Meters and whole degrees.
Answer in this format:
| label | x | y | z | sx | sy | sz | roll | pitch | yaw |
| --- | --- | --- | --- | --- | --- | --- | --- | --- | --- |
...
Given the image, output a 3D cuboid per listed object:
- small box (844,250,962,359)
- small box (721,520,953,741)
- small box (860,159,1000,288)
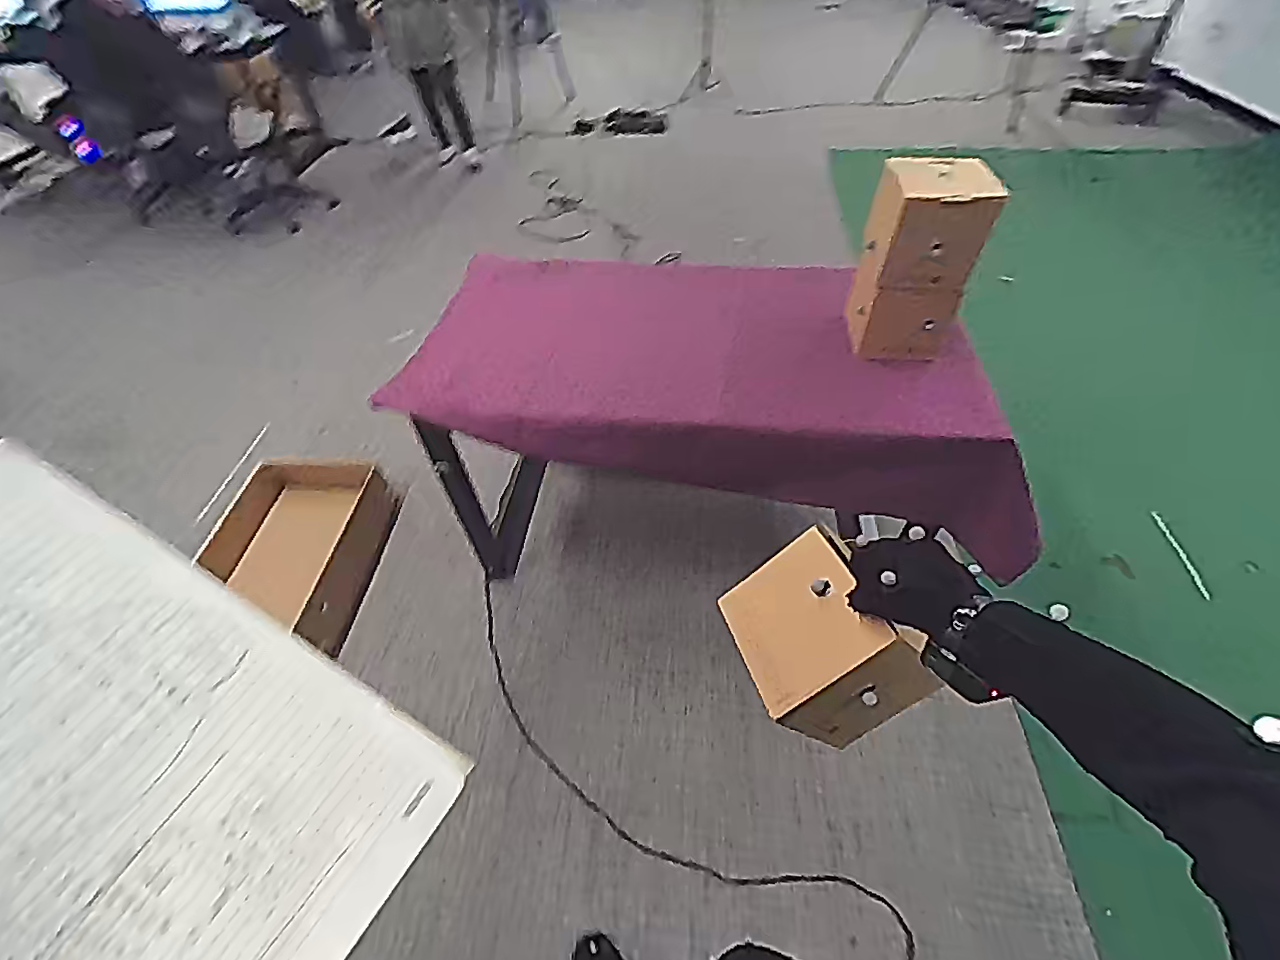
| label | x | y | z | sx | sy | sz | roll | pitch | yaw |
| --- | --- | --- | --- | --- | --- | --- | --- | --- | --- |
| small box | 0.541 | -0.372 | 1.140 | 0.168 | 0.176 | 0.179 | 4 | 50 | 6 |
| small box | 0.231 | 0.190 | 0.668 | 0.176 | 0.168 | 0.179 | -43 | 36 | 16 |
| small box | 0.529 | -0.478 | 1.015 | 0.168 | 0.176 | 0.179 | 4 | 51 | 5 |
